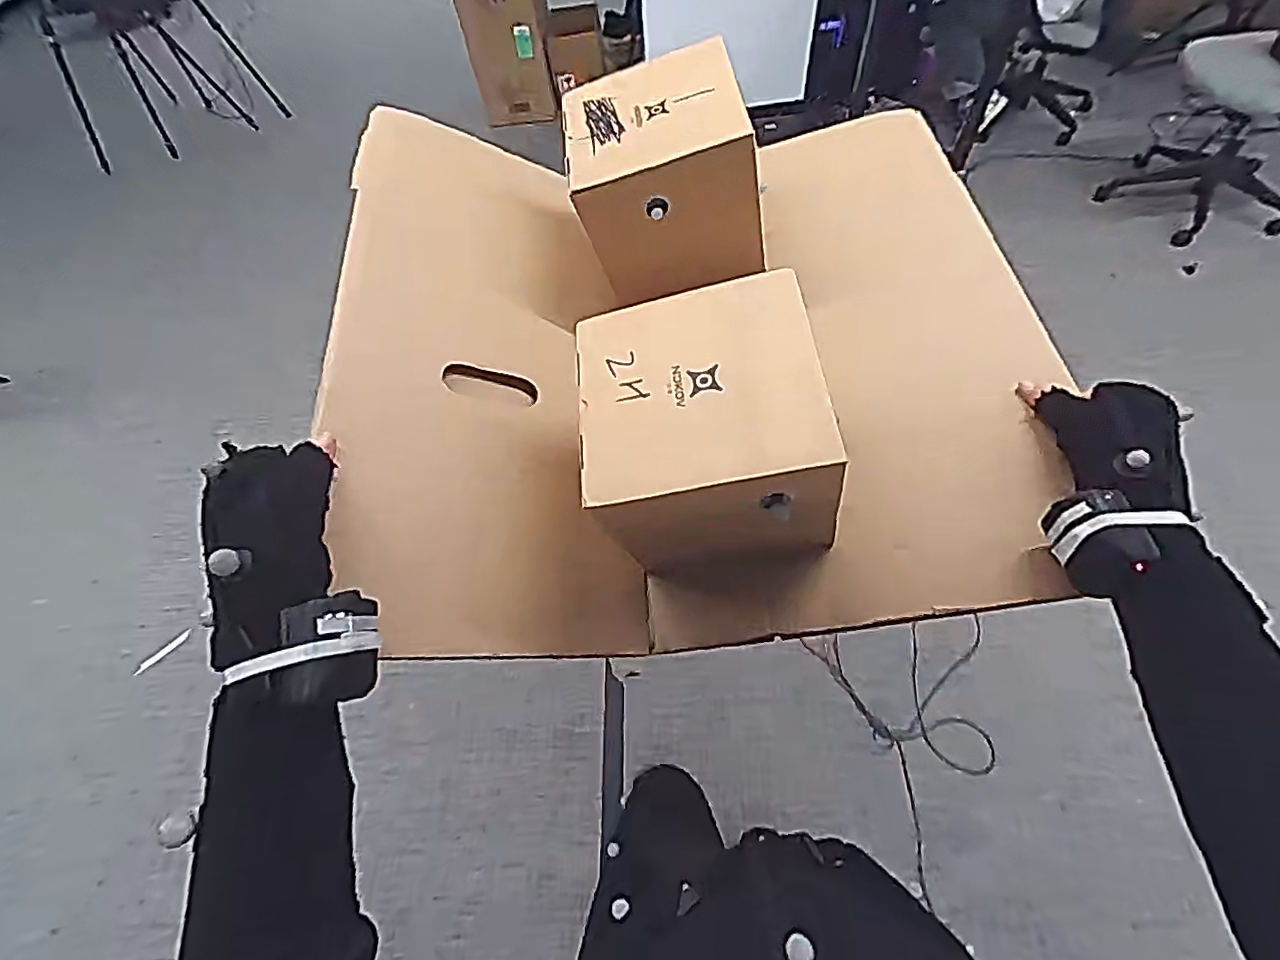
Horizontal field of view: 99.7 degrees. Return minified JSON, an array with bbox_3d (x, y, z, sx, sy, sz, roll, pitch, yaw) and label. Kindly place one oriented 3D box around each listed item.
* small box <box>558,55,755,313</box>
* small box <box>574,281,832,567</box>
[{"bbox_3d":[0.022,-0.317,0.608,0.179,0.176,0.168,-13,63,11],"label":"small box"},{"bbox_3d":[0.055,-0.033,0.466,0.179,0.176,0.168,-11,63,12],"label":"small box"}]
